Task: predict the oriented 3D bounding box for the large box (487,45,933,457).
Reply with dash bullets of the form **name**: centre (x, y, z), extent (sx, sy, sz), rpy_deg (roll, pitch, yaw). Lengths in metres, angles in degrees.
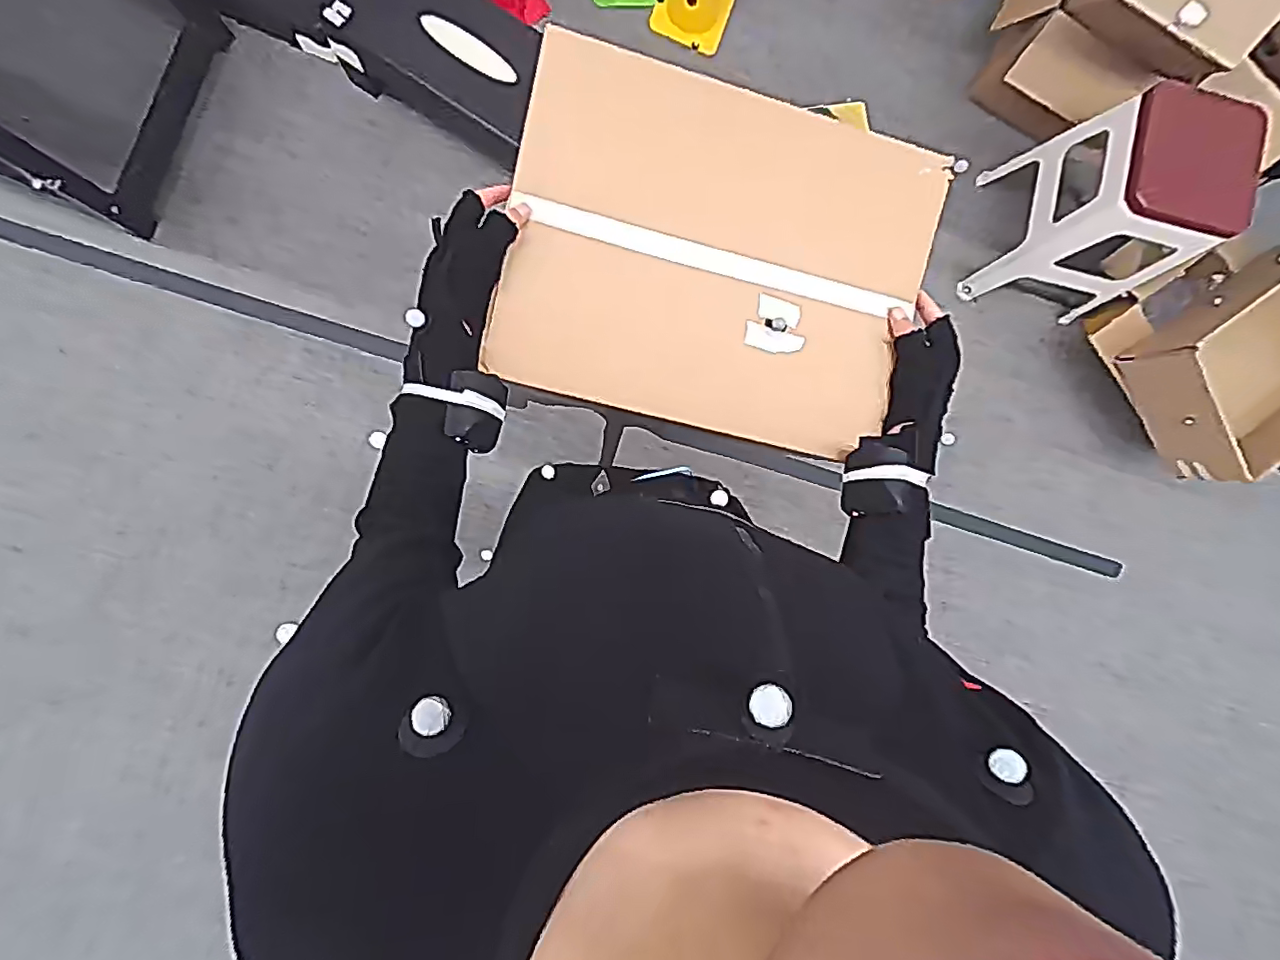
- **large box**: centre (0.055, -0.227, 0.677), extent (0.408, 0.320, 0.320), rpy_deg (13, 95, -9)
